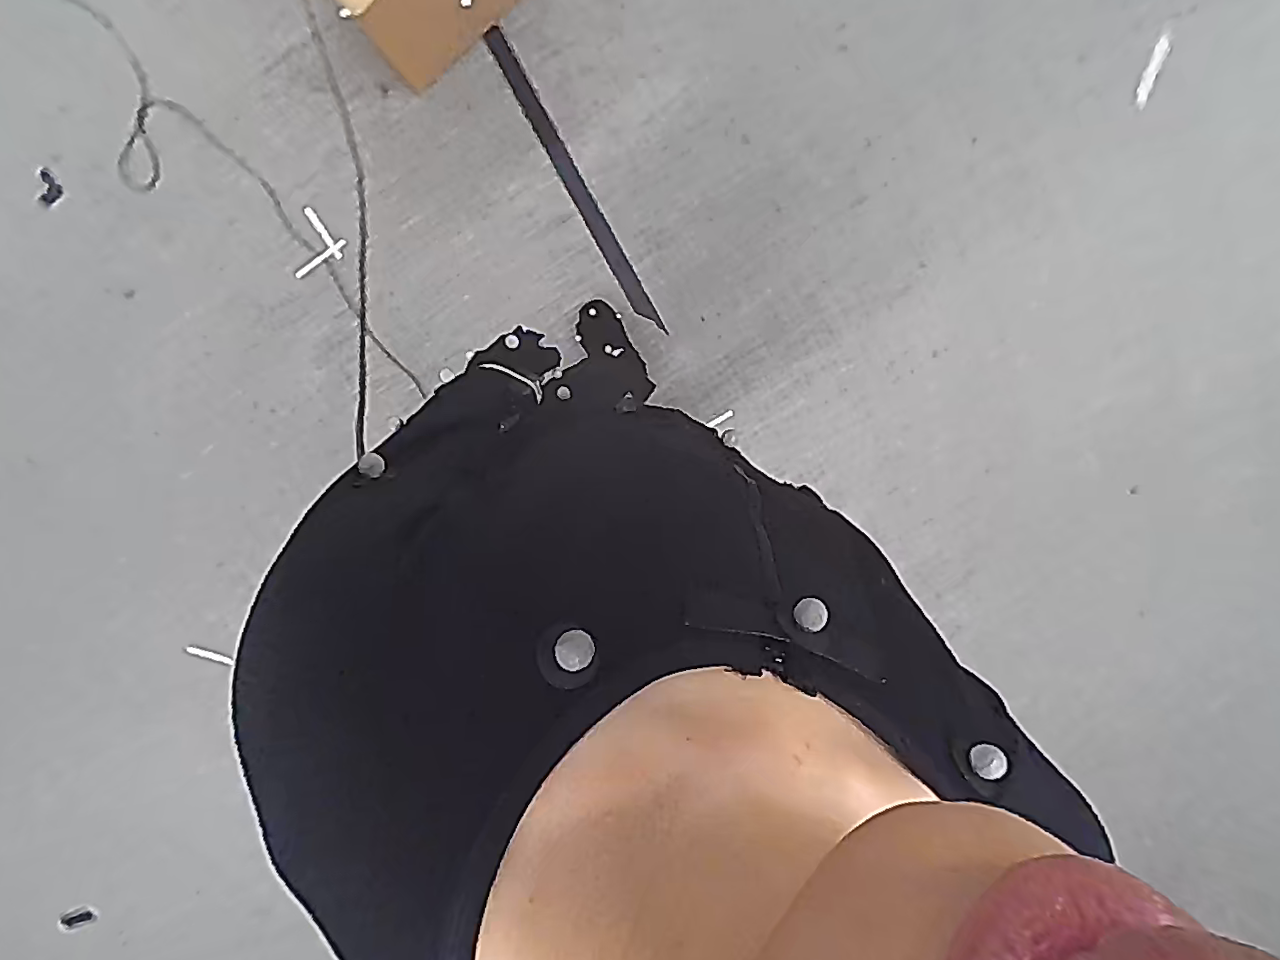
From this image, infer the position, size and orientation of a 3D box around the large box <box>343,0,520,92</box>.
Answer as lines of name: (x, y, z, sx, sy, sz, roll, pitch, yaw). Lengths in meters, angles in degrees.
large box: (-0.458, -1.123, 1.097, 0.408, 0.320, 0.320, -38, 100, 8)
